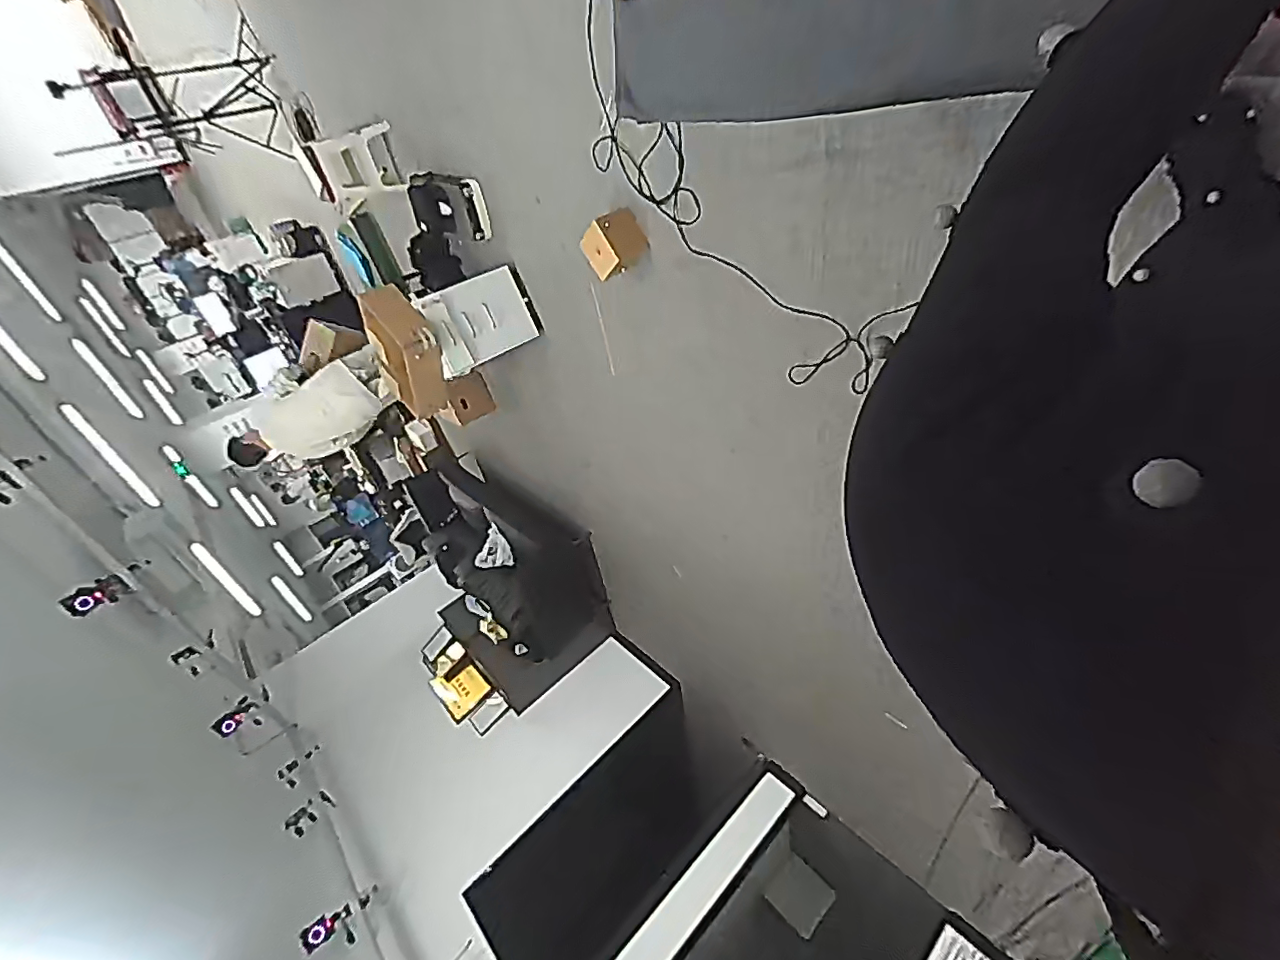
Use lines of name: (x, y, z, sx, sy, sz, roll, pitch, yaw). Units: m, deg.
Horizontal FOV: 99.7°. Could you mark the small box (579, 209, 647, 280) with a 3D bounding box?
small box: (-0.102, -0.914, 2.093, 0.179, 0.176, 0.168, 58, 152, -6)
